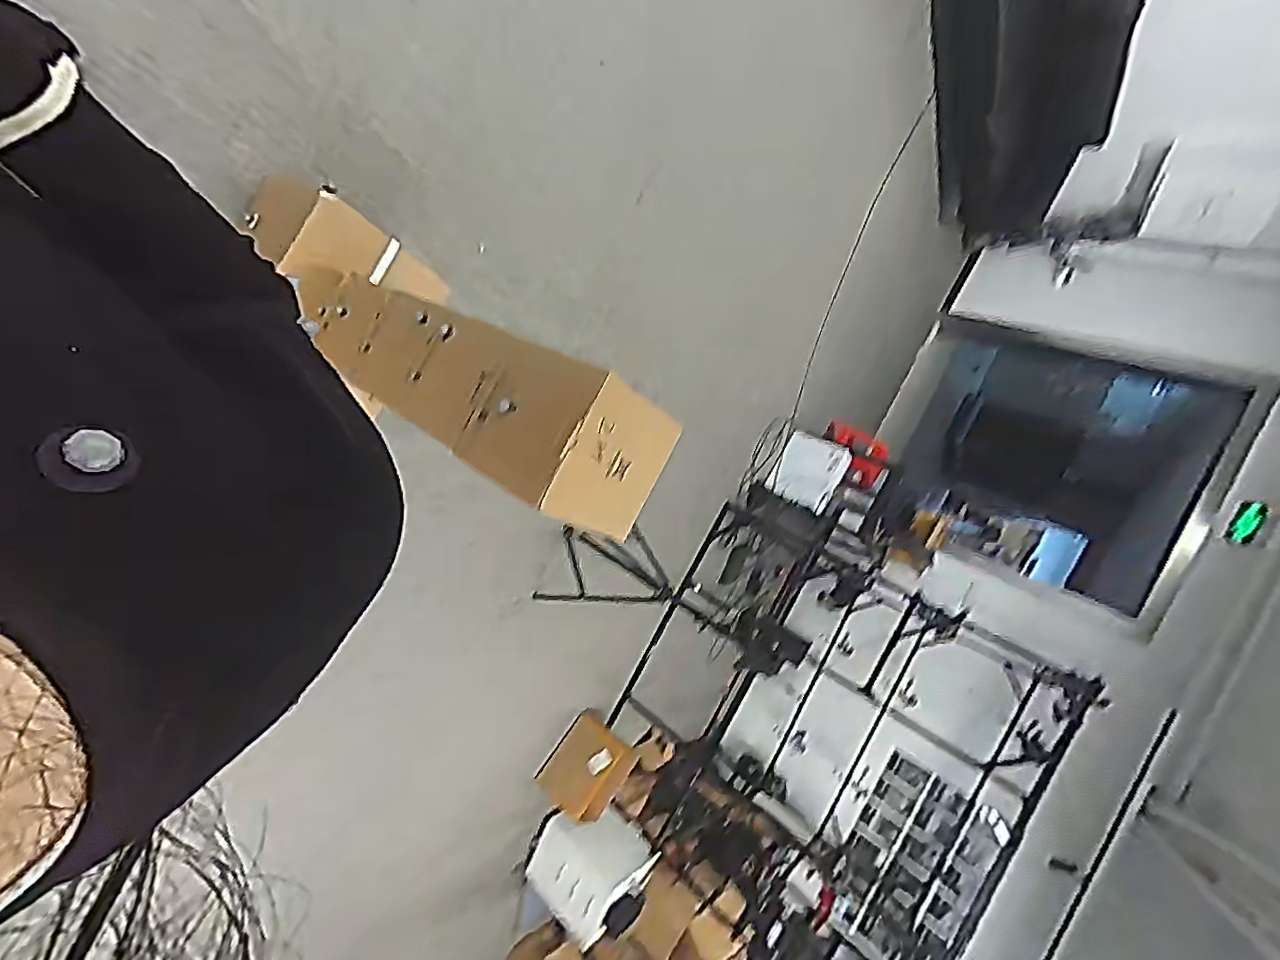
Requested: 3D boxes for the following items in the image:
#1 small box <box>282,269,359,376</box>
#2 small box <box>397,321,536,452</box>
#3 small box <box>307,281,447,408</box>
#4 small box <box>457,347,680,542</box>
[{"bbox_3d":[-0.560,-0.287,1.058,0.168,0.176,0.179,29,90,-55],"label":"small box"},{"bbox_3d":[-0.206,-0.107,0.771,0.168,0.176,0.179,-60,145,-3],"label":"small box"},{"bbox_3d":[-0.443,-0.231,0.960,0.179,0.176,0.168,30,88,-54],"label":"small box"},{"bbox_3d":[-0.087,-0.045,0.675,0.179,0.176,0.168,30,88,-54],"label":"small box"}]
